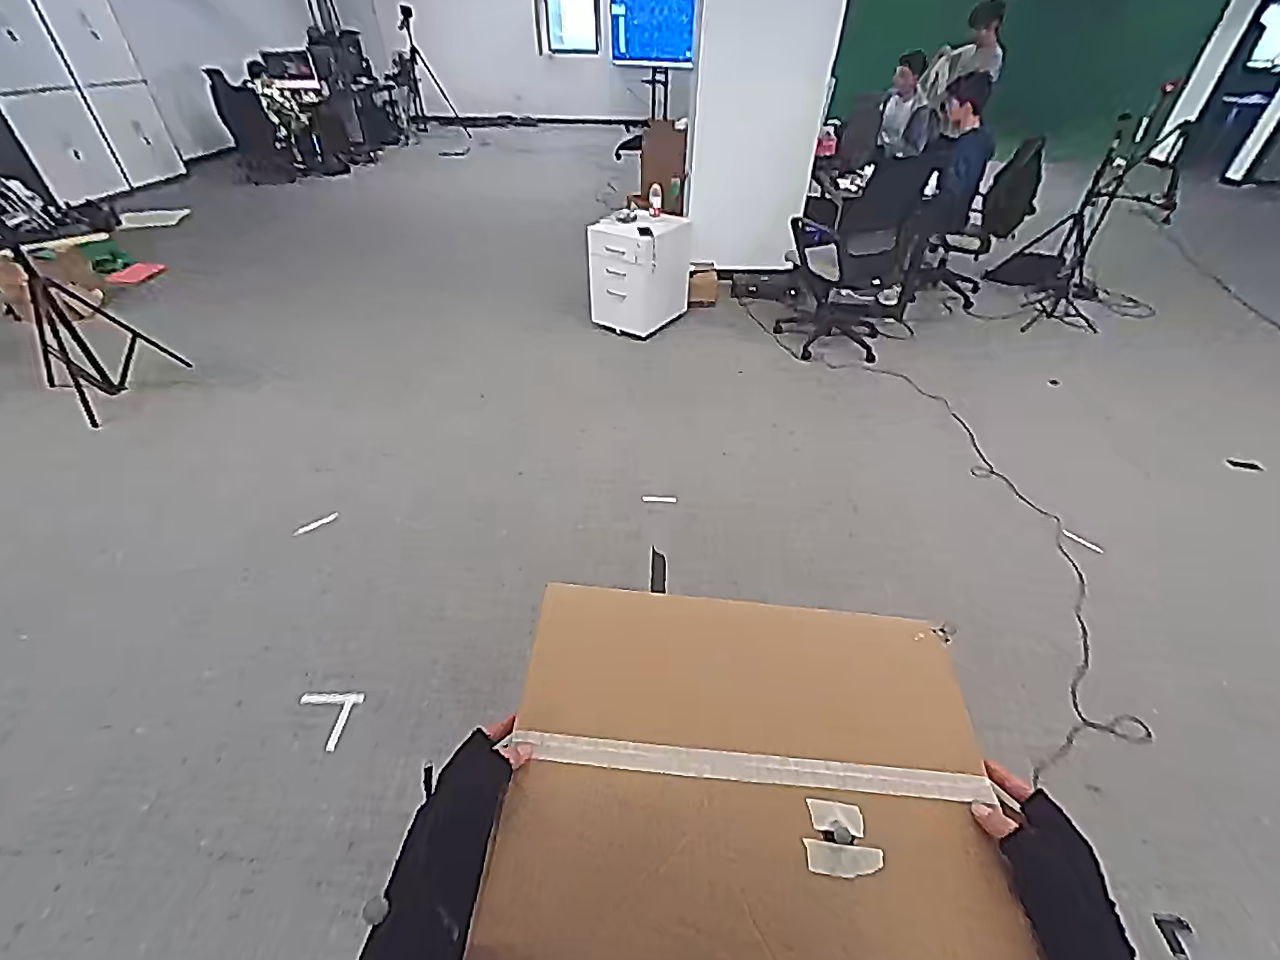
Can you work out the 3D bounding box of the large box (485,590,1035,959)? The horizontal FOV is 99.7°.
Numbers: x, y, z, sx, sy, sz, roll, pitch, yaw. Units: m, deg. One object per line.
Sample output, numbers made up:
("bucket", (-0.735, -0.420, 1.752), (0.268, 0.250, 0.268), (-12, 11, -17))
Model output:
("large box", (0.087, 0.343, 0.583), (0.408, 0.320, 0.320), (5, 49, 0))
